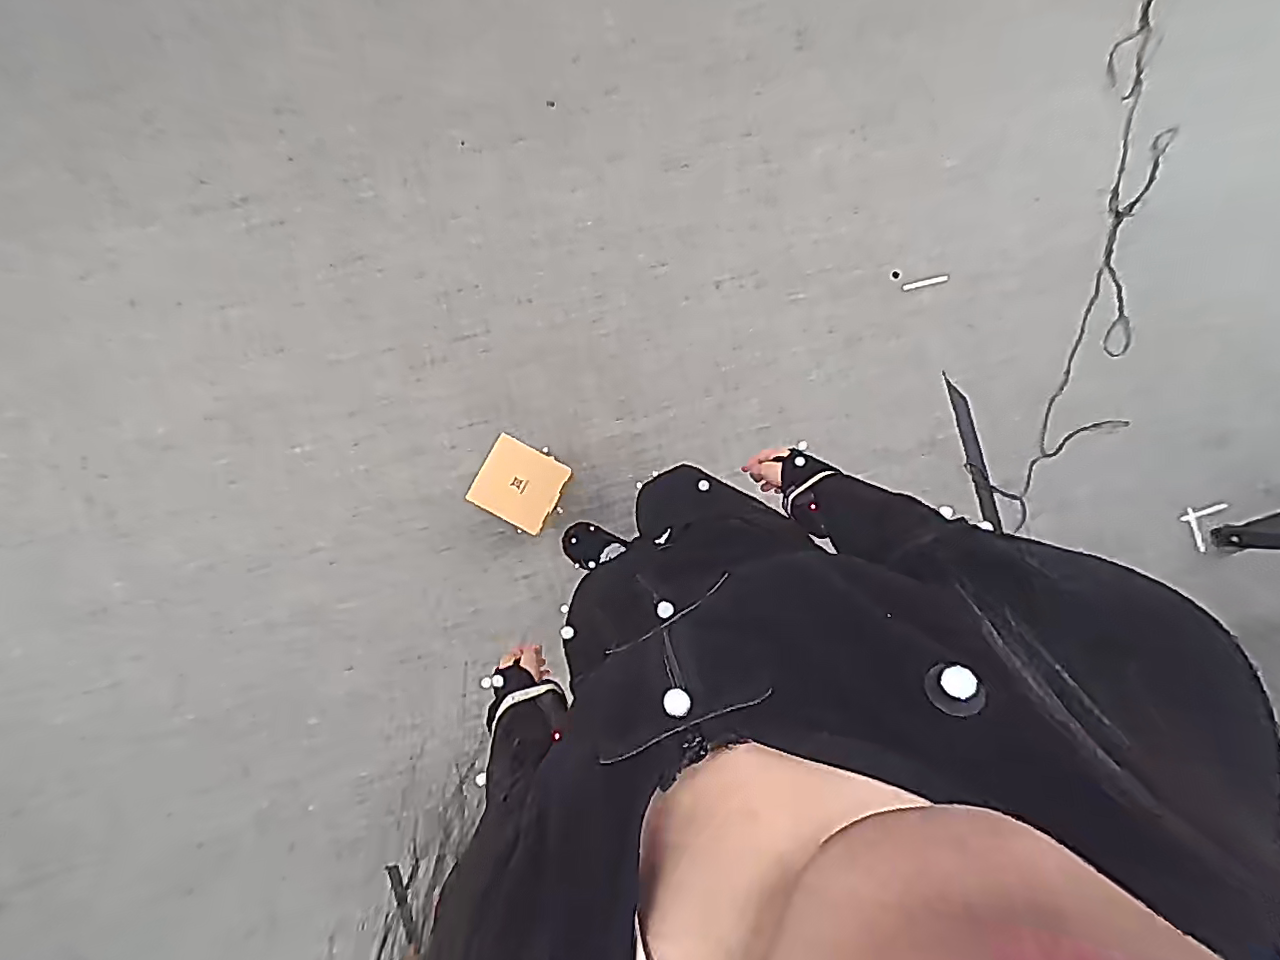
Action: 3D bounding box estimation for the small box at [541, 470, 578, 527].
[{"bbox_3d":[-0.278,0.011,1.411,0.179,0.176,0.168,29,86,-2],"label":"small box"}]

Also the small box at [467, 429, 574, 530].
[{"bbox_3d":[-0.267,0.003,1.248,0.179,0.176,0.168,28,86,-4],"label":"small box"}]
